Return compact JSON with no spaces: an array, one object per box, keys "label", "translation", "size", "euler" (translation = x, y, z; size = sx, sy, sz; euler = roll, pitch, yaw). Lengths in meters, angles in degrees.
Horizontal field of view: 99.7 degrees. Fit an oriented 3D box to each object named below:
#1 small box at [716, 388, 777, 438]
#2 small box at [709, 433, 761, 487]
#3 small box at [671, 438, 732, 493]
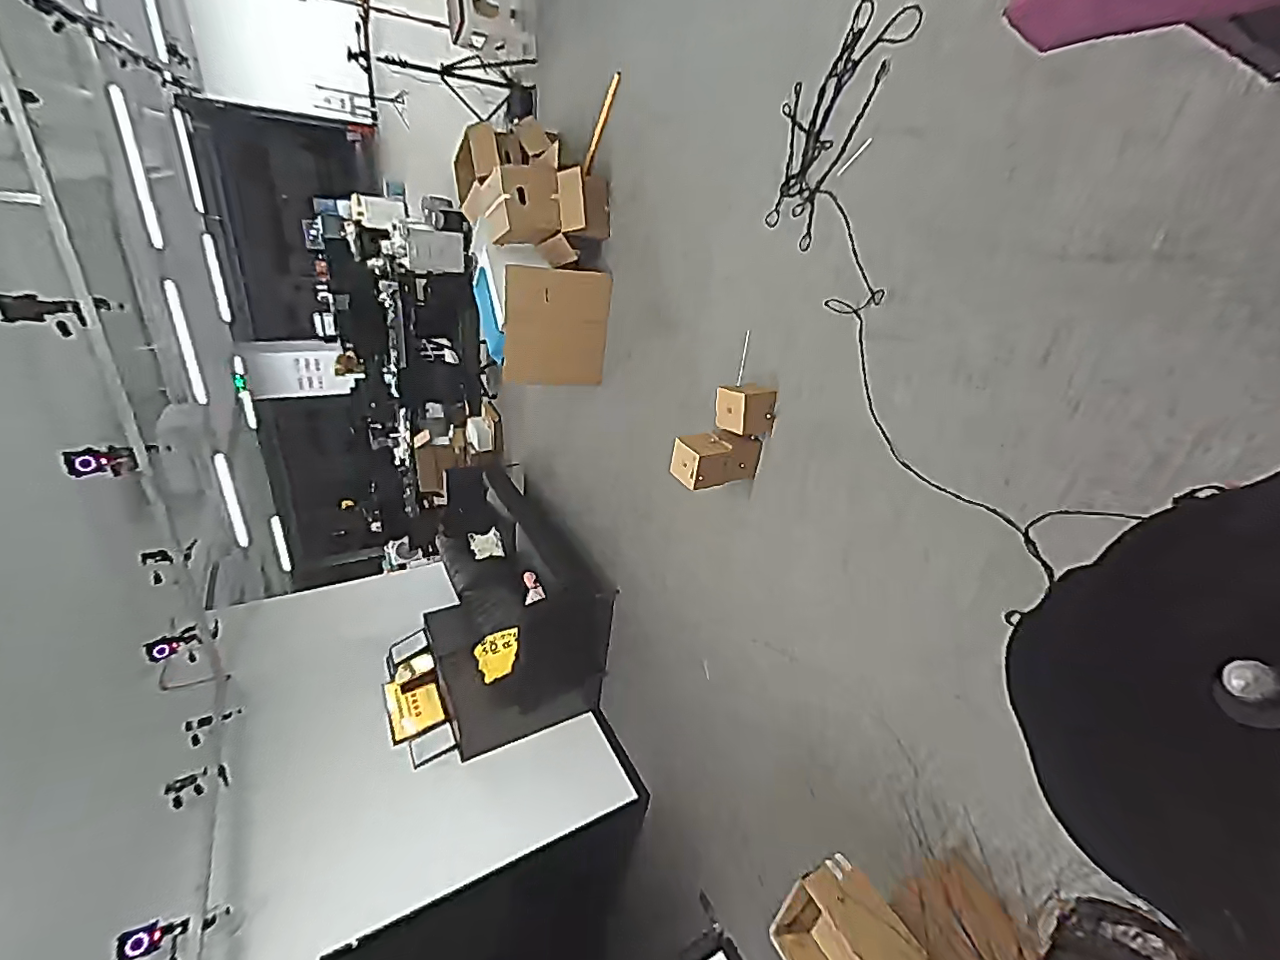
[{"label":"small box","translation":[0.432,-0.280,2.201],"size":[0.179,0.176,0.168],"euler":[31,126,54]},{"label":"small box","translation":[0.397,-0.097,2.319],"size":[0.168,0.176,0.179],"euler":[44,136,48]},{"label":"small box","translation":[0.255,-0.066,2.243],"size":[0.179,0.176,0.168],"euler":[45,137,48]}]
